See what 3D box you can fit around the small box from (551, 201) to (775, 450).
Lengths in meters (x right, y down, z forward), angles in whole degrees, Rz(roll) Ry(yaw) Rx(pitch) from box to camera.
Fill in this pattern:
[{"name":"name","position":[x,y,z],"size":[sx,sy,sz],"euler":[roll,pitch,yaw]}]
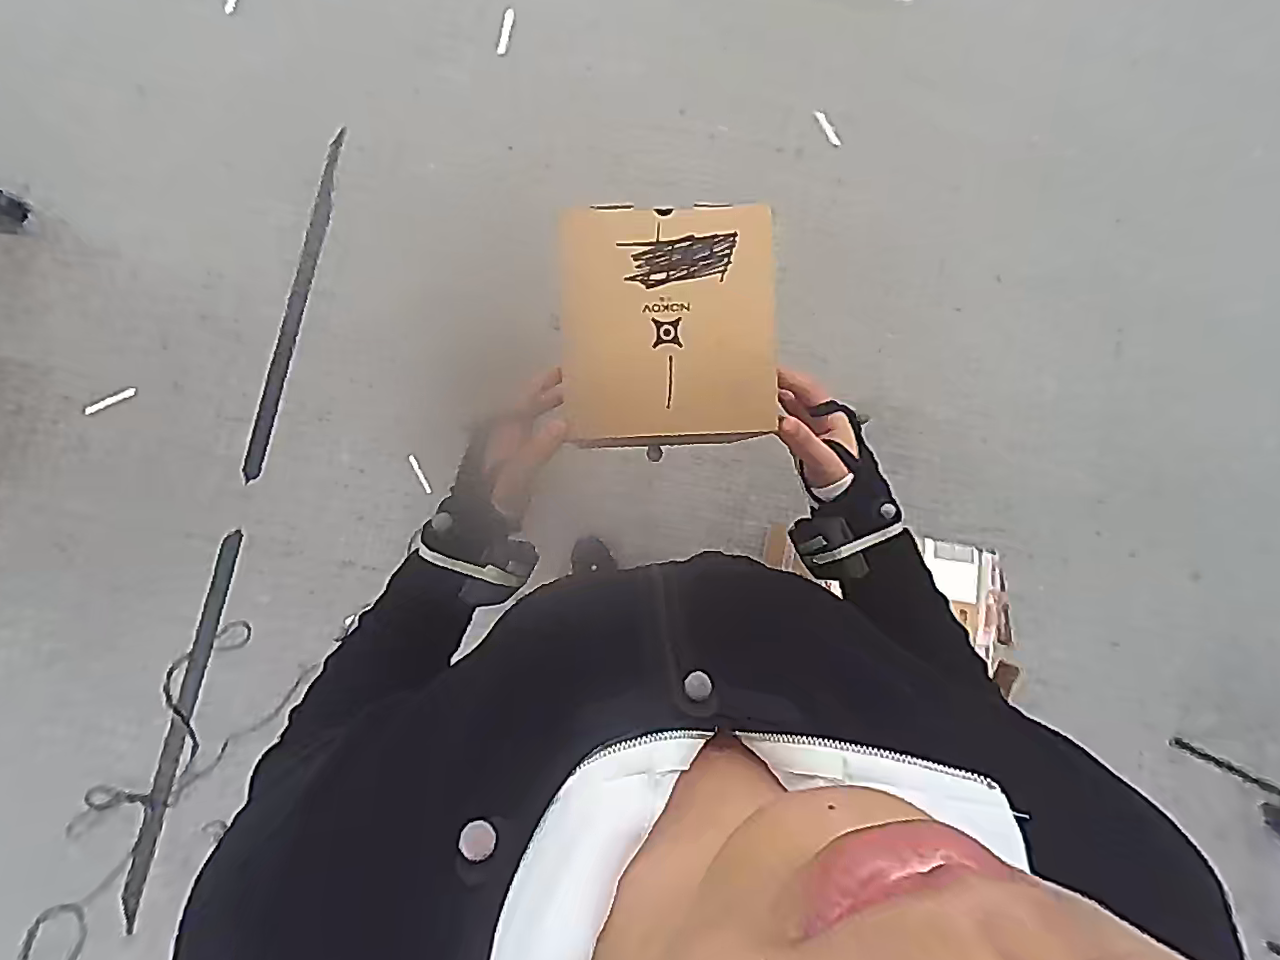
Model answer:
[{"name":"small box","position":[0.014,-0.123,0.491],"size":[0.168,0.176,0.179],"euler":[-4,91,-2]}]
